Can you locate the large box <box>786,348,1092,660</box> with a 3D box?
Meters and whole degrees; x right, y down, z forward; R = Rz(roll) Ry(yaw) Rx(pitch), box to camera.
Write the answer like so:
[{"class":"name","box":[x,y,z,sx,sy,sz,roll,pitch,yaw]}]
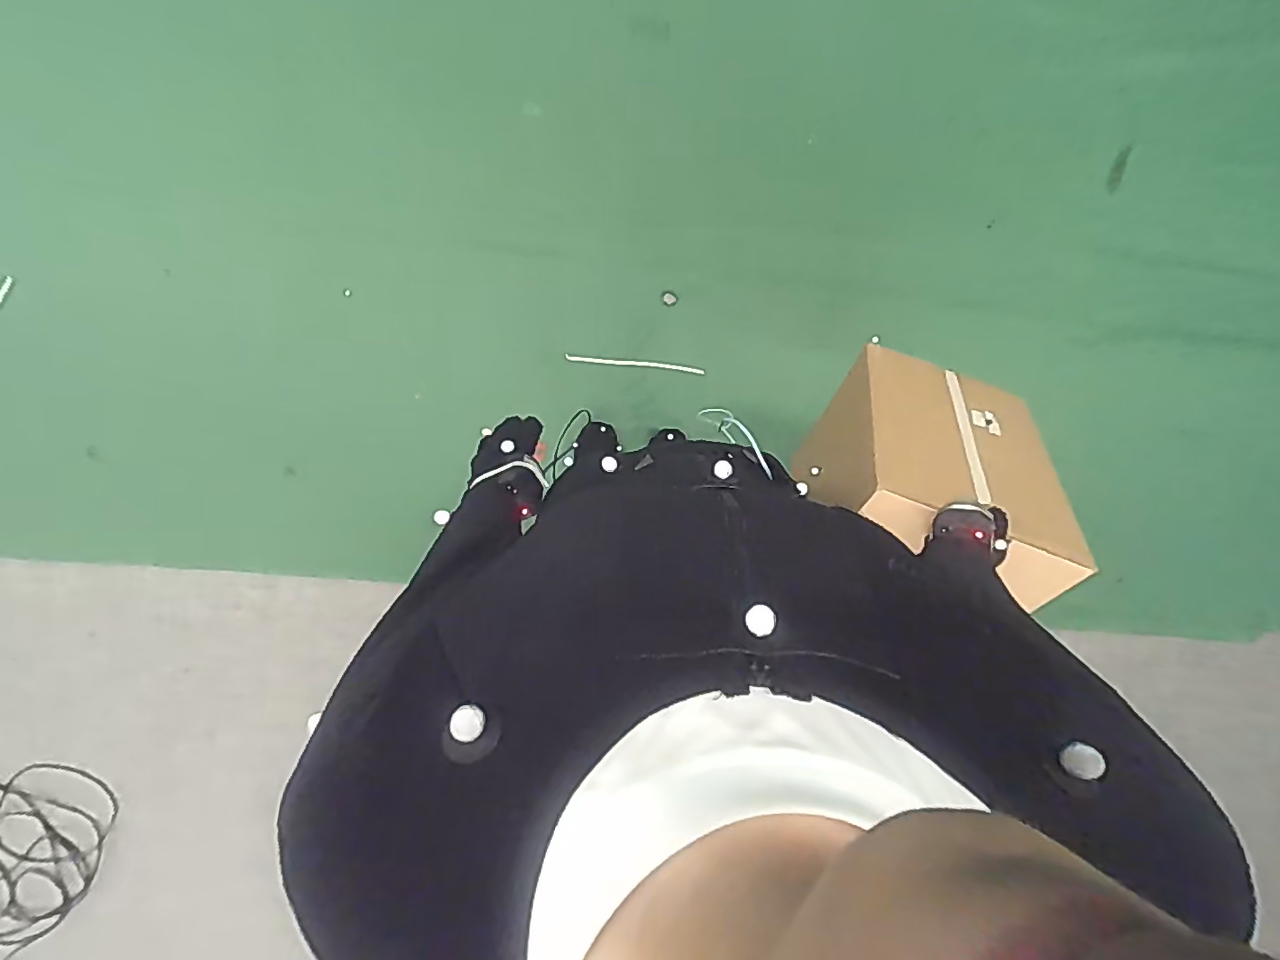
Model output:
[{"class":"large box","box":[0.474,0.037,0.964,0.320,0.408,0.320,21,134,0]}]
